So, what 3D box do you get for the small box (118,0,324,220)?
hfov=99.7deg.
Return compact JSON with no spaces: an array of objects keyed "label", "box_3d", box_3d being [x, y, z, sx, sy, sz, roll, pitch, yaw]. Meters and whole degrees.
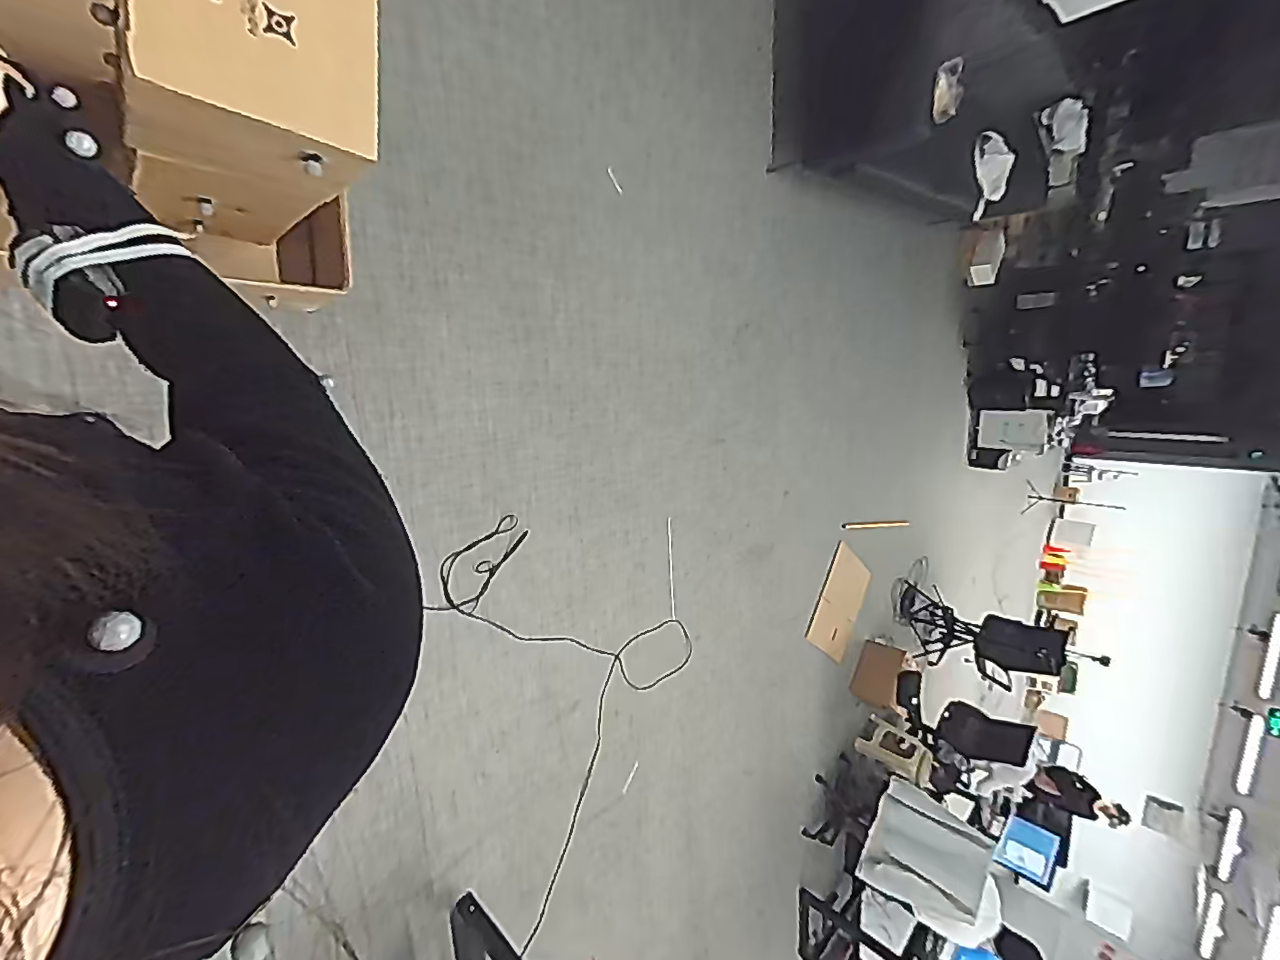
[{"label":"small box","box_3d":[-0.474,-0.420,0.614,0.168,0.176,0.179,-4,102,-43]}]
